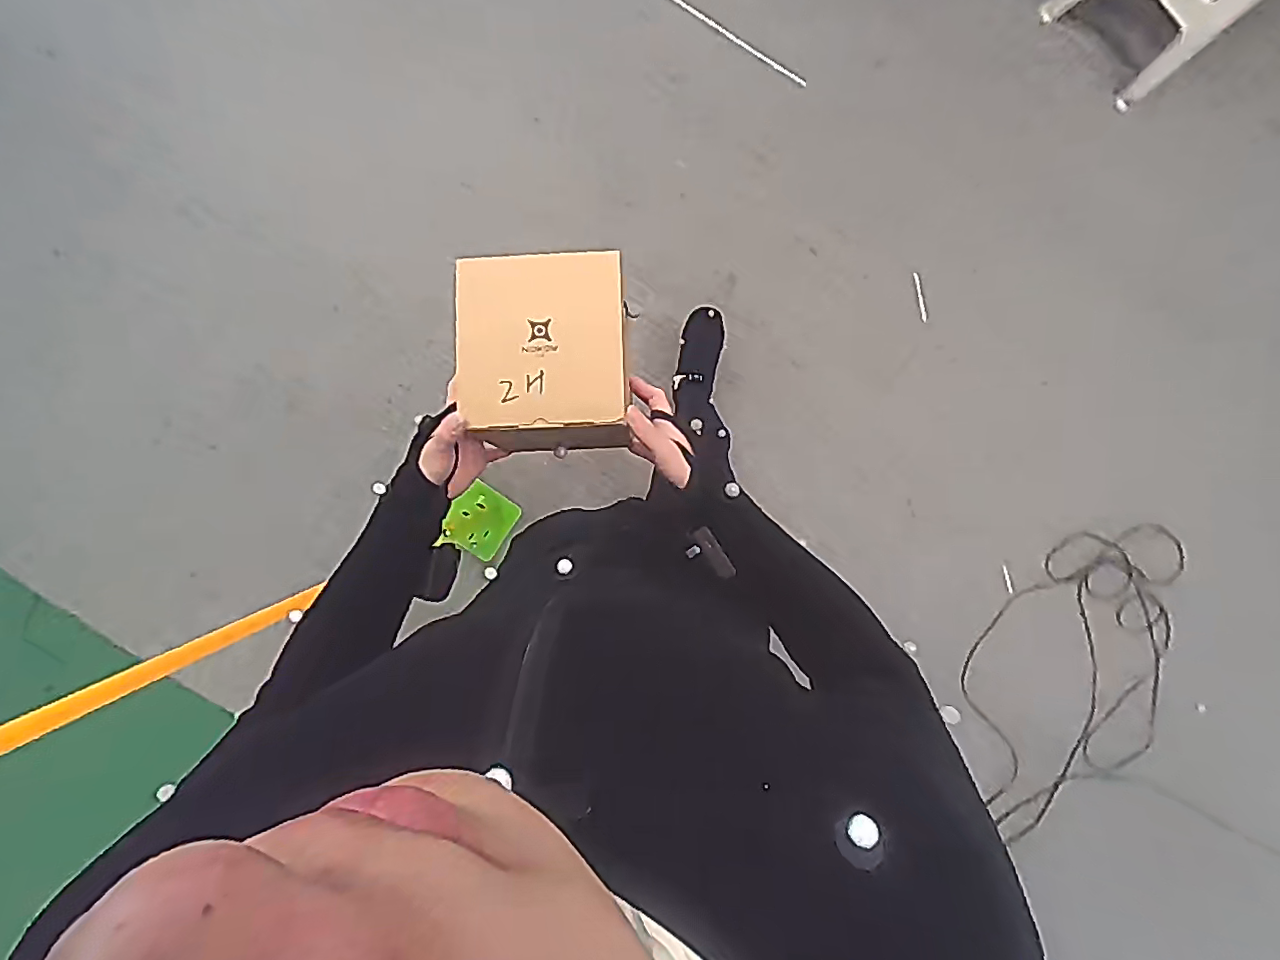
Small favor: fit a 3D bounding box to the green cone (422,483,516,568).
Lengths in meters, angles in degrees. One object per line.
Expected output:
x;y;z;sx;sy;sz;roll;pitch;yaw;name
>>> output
-0.492;0.149;1.426;0.202;0.368;0.200;34;94;-3;green cone
